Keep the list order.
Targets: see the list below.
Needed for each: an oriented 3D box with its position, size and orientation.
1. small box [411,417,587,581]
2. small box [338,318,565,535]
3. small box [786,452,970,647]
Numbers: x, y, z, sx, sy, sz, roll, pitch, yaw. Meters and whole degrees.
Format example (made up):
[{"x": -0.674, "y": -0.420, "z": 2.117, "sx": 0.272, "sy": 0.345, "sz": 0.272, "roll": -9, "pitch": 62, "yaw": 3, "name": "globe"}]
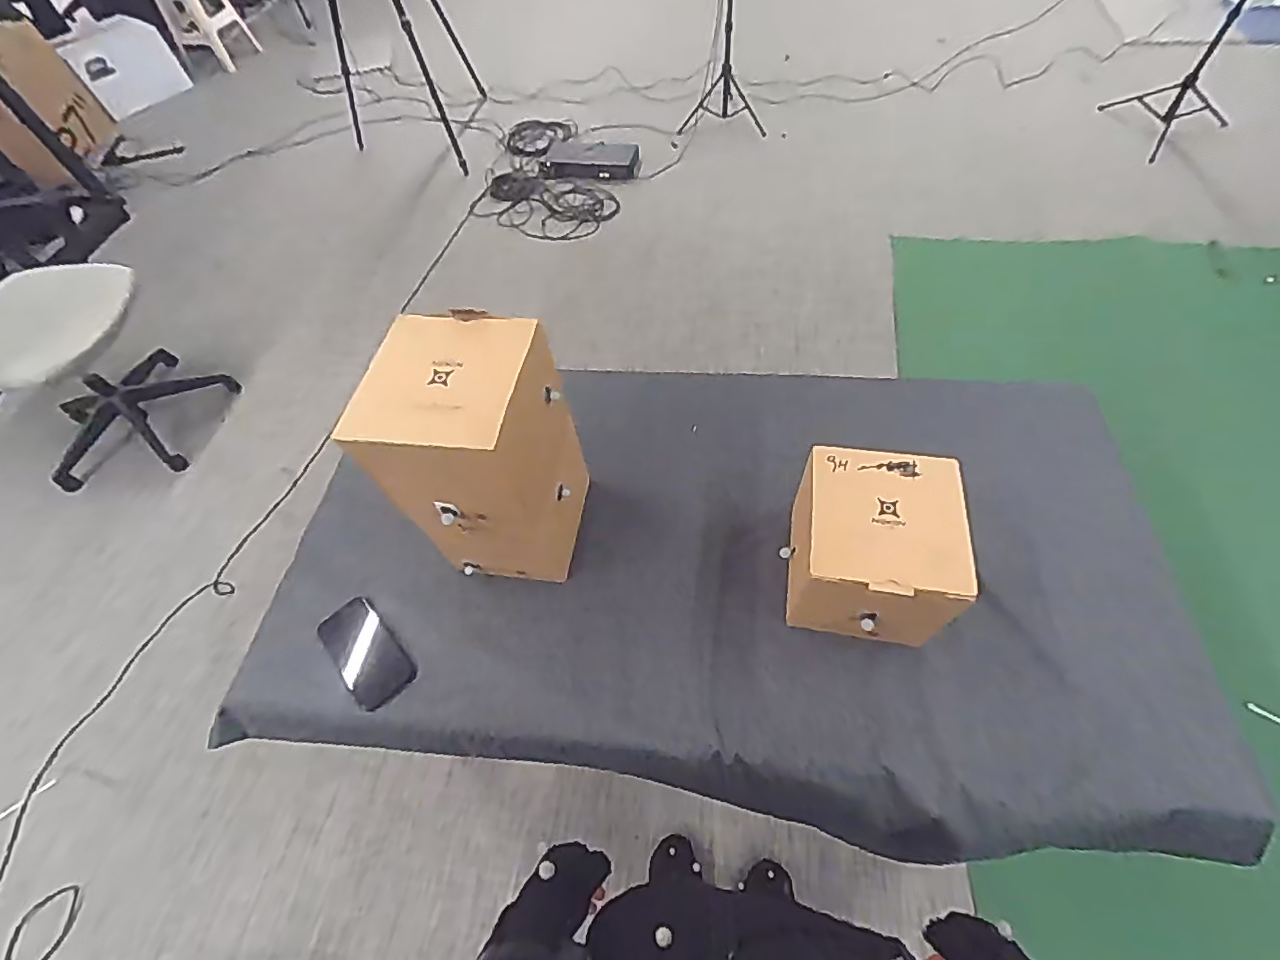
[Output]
[{"x": -0.178, "y": 0.026, "z": 0.751, "sx": 0.168, "sy": 0.176, "sz": 0.179, "roll": 5, "pitch": 57, "yaw": 8, "name": "small box"}, {"x": -0.190, "y": -0.058, "z": 0.612, "sx": 0.168, "sy": 0.176, "sz": 0.179, "roll": 4, "pitch": 58, "yaw": 9, "name": "small box"}, {"x": 0.277, "y": 0.090, "z": 0.666, "sx": 0.168, "sy": 0.176, "sz": 0.179, "roll": 7, "pitch": 58, "yaw": 10, "name": "small box"}]
